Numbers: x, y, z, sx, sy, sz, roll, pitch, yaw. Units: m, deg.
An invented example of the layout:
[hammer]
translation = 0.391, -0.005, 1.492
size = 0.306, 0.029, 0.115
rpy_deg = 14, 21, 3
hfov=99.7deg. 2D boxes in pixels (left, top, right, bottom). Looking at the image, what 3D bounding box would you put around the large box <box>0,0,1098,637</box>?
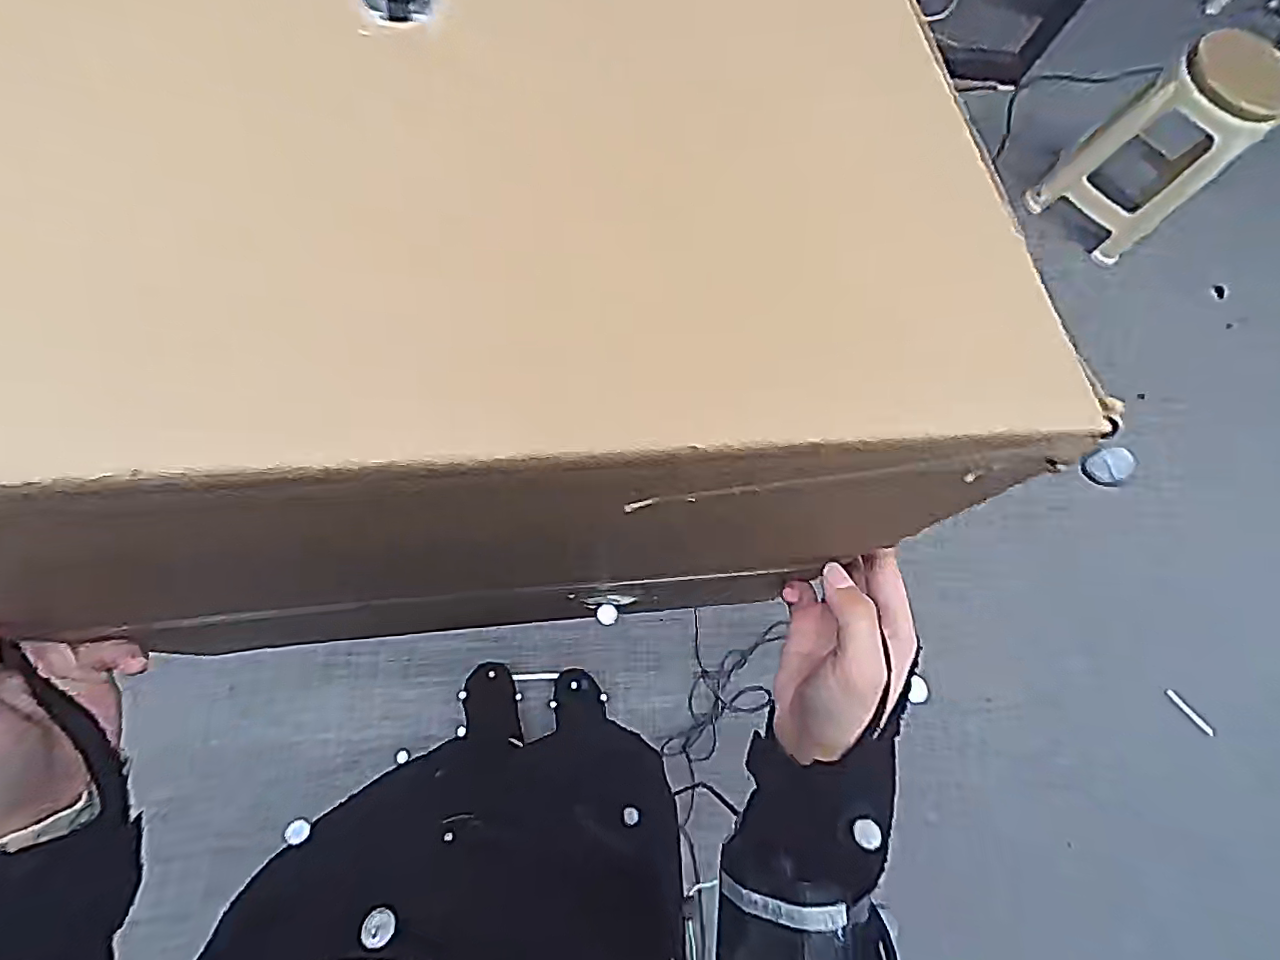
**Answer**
[large box]
translation = -0.098, -0.101, 0.317
size = 0.408, 0.320, 0.320
rpy_deg = -4, 71, -9
